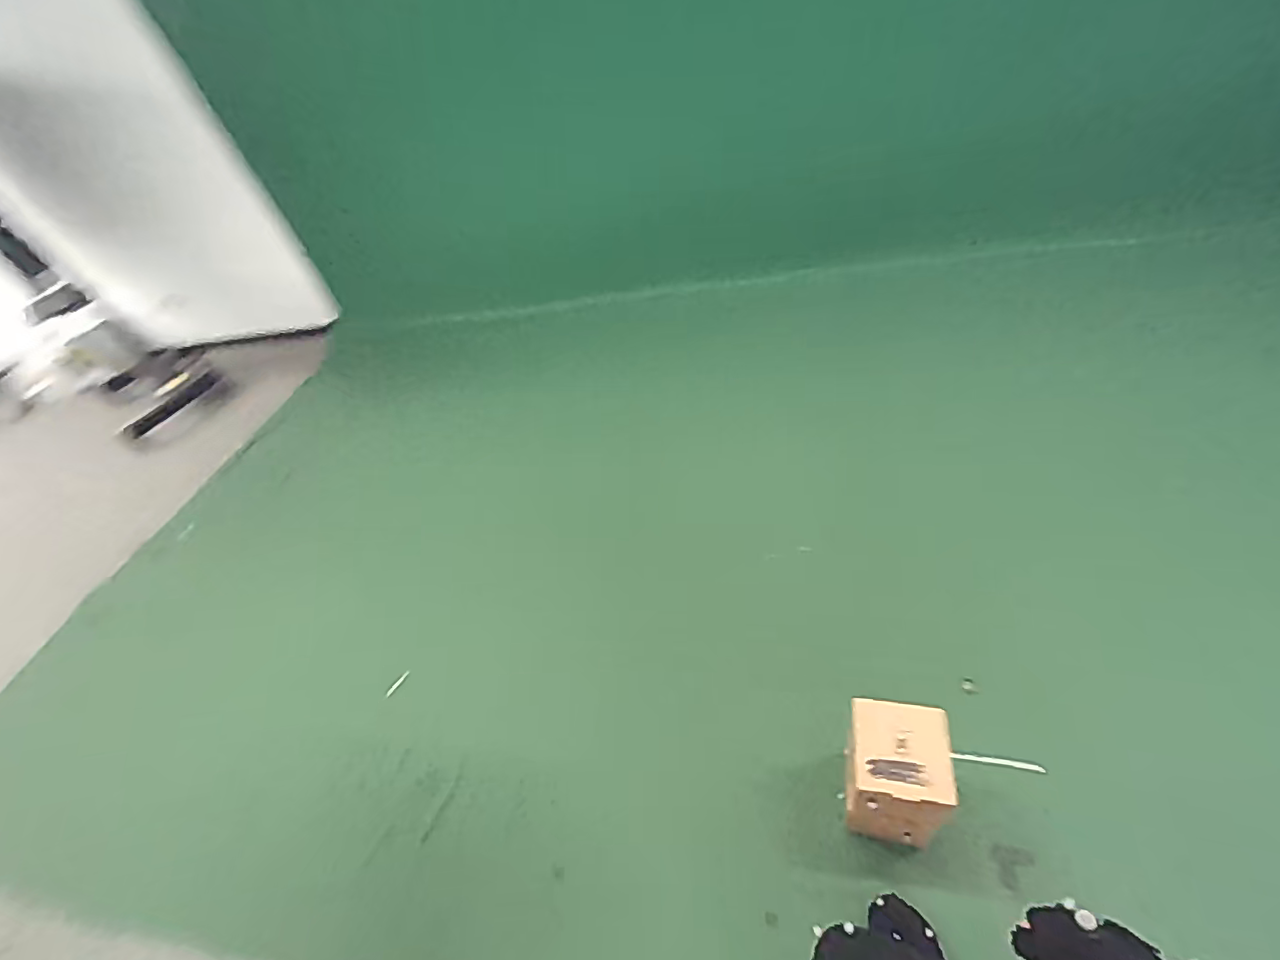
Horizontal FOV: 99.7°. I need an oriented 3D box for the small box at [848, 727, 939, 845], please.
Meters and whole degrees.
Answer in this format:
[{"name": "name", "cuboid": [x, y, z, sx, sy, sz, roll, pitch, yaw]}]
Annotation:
[{"name": "small box", "cuboid": [0.555, 0.680, 1.199, 0.168, 0.176, 0.179, 3, 48, 20]}]
